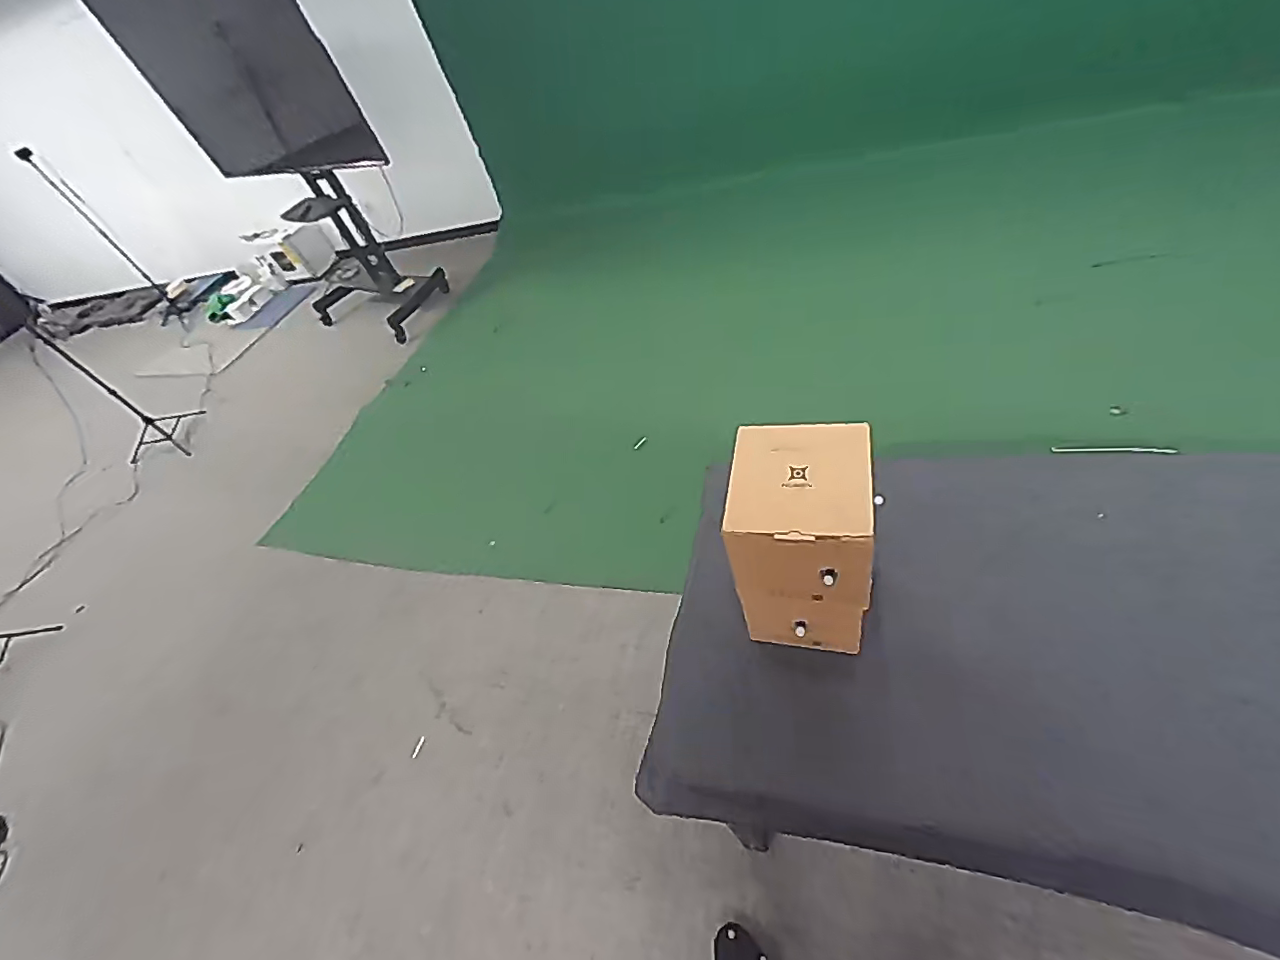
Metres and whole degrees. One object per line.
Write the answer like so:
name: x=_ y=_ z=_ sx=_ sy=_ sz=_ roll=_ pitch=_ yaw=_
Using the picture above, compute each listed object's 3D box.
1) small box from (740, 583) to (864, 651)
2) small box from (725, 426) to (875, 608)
small box: x=0.259 y=0.144 z=0.836 sx=0.168 sy=0.176 sz=0.179 roll=3 pitch=51 yaw=21
small box: x=0.215 y=0.050 z=0.710 sx=0.168 sy=0.176 sz=0.179 roll=1 pitch=49 yaw=19
